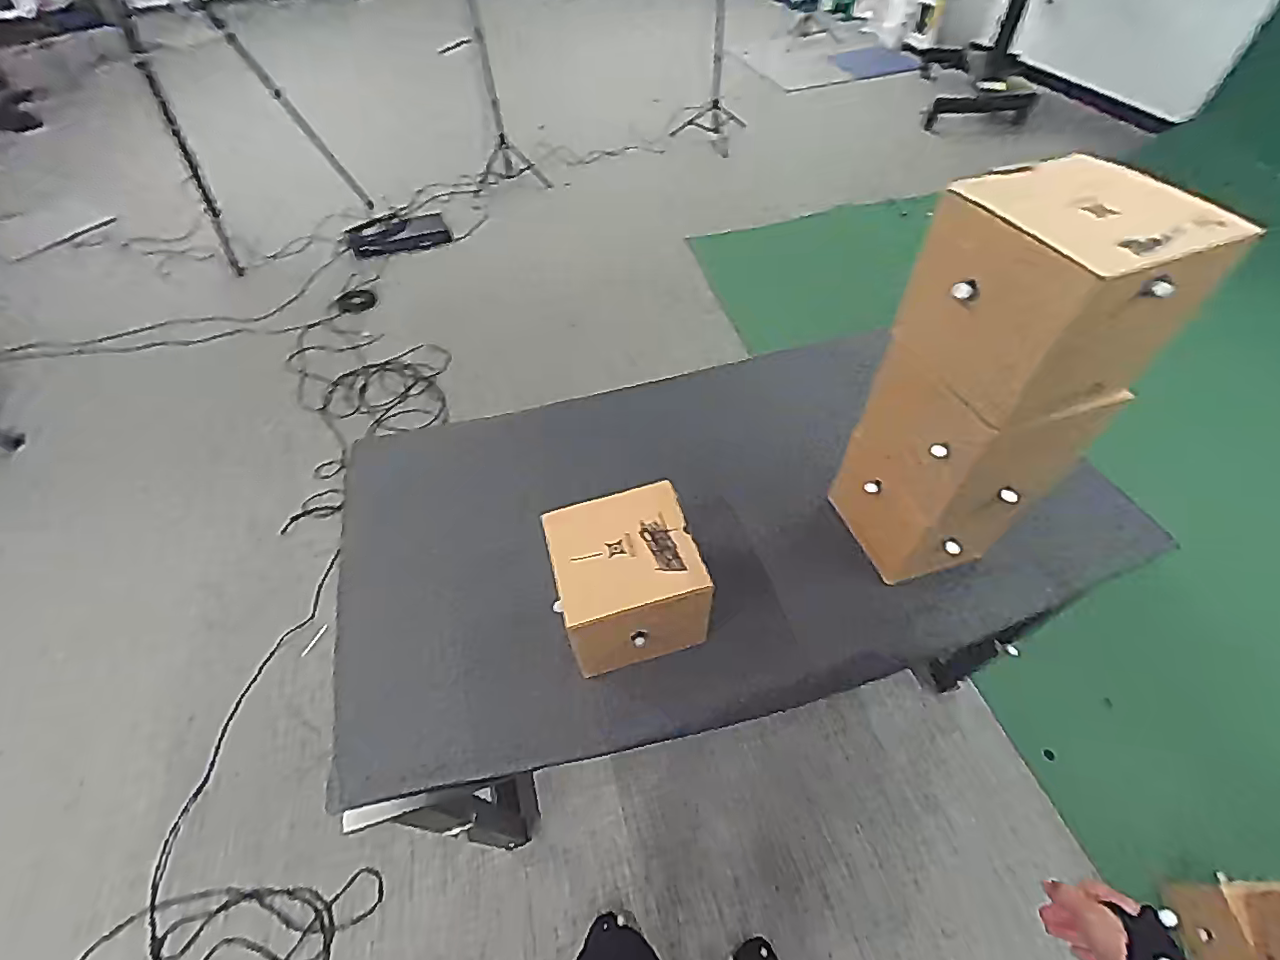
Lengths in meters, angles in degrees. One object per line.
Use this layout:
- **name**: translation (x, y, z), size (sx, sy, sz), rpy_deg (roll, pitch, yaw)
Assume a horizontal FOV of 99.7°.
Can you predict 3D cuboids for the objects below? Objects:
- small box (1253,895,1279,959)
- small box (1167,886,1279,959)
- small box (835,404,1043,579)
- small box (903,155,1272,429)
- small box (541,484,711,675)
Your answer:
- **small box**: translation (1.152, 0.793, 0.863), size (0.179, 0.176, 0.168), rpy_deg (16, 57, 14)
- **small box**: translation (1.156, 0.866, 1.012), size (0.179, 0.176, 0.168), rpy_deg (-1, 53, 2)
- **small box**: translation (0.408, 0.024, 0.776), size (0.168, 0.176, 0.179), rpy_deg (-15, 52, -8)
- **small box**: translation (0.390, -0.178, 0.517), size (0.168, 0.176, 0.179), rpy_deg (-18, 52, -10)
- **small box**: translation (-0.019, 0.134, 0.714), size (0.179, 0.176, 0.168), rpy_deg (-14, 52, -7)
